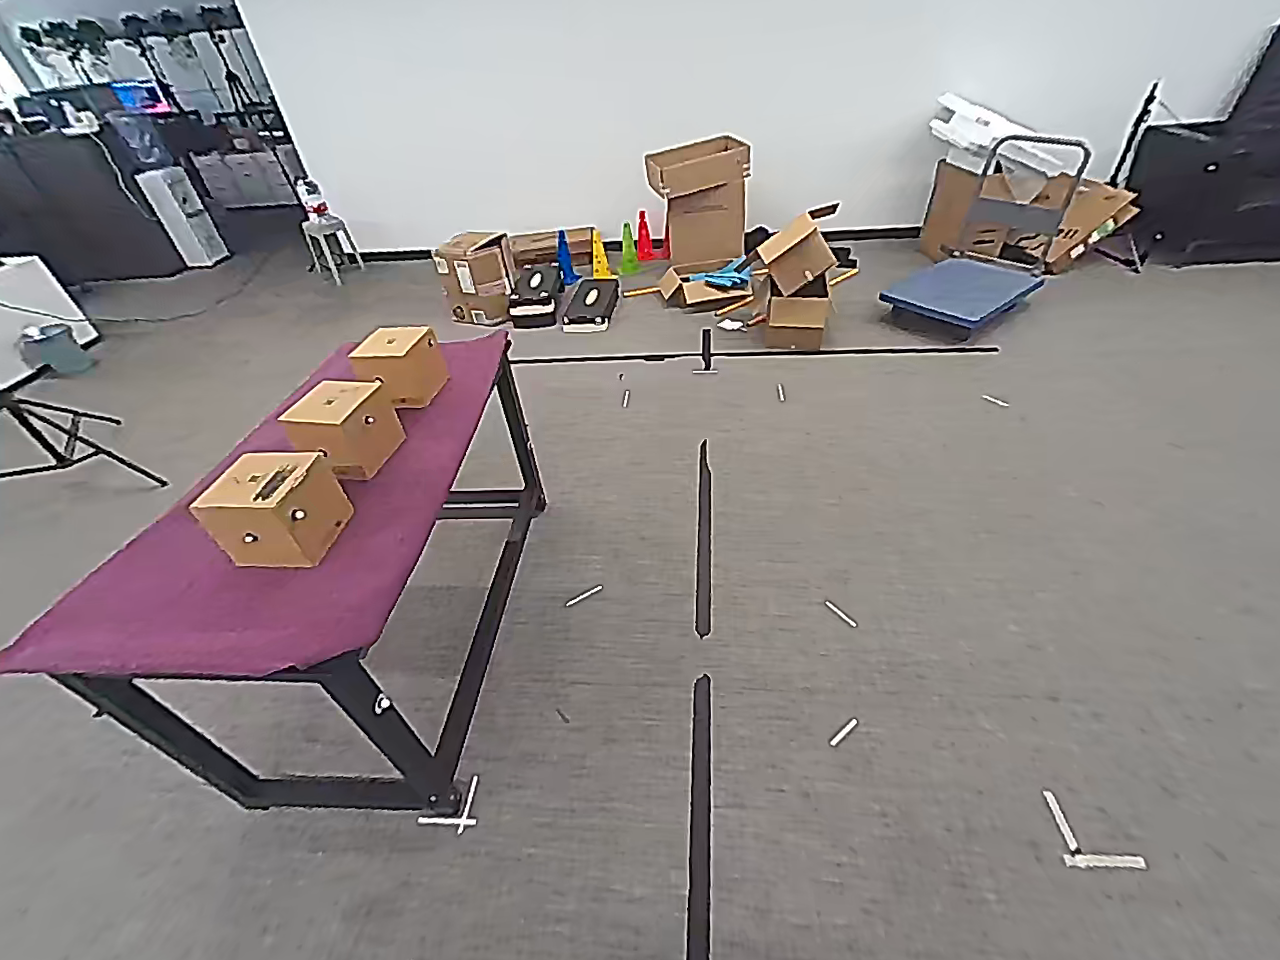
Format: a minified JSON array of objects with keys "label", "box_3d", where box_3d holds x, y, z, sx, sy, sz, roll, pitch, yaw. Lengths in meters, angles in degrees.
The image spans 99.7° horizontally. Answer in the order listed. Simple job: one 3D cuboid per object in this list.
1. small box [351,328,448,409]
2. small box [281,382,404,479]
[{"label":"small box","box_3d":[-0.670,-0.313,1.534,0.168,0.176,0.179,1,40,9]},{"label":"small box","box_3d":[-0.705,-0.119,1.309,0.168,0.176,0.179,5,41,11]}]
